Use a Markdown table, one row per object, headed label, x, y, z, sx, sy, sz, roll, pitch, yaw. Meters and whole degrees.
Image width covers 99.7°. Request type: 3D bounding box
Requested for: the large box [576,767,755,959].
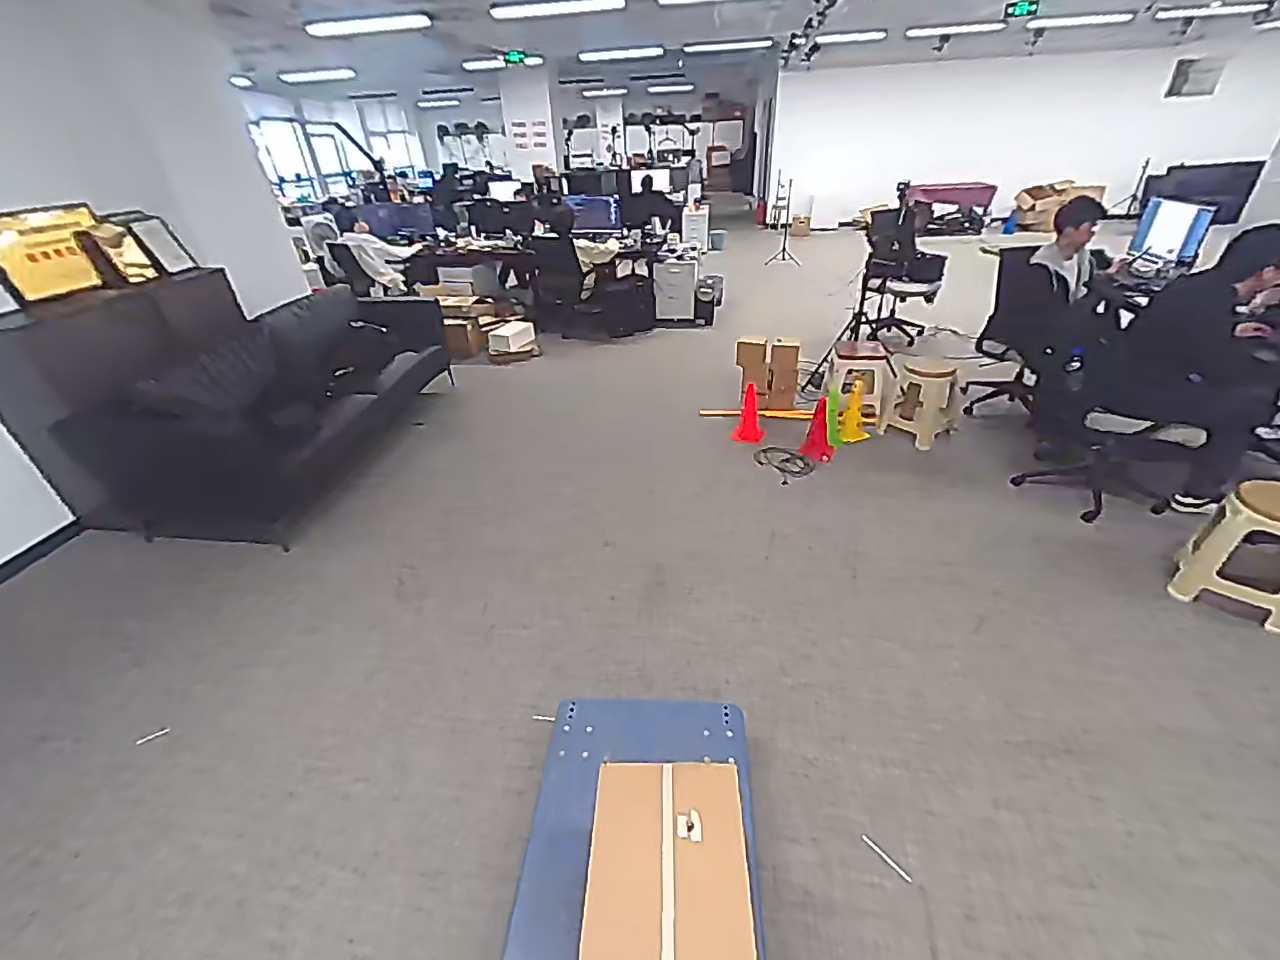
| label | x | y | z | sx | sy | sz | roll | pitch | yaw |
| --- | --- | --- | --- | --- | --- | --- | --- | --- | --- |
| large box | 0.055 | 0.884 | 1.130 | 0.320 | 0.320 | 0.408 | -1 | 32 | 3 |
